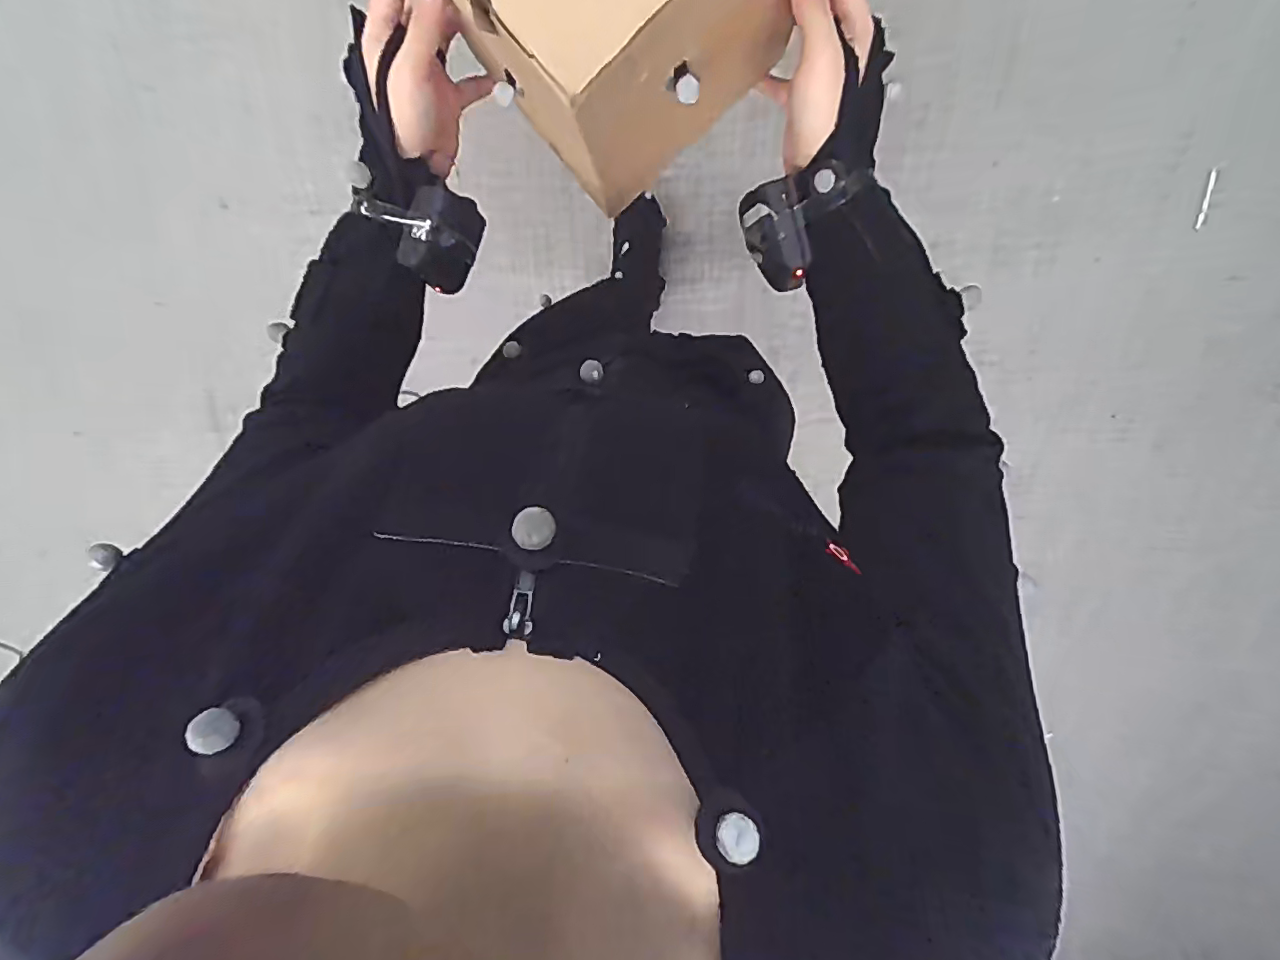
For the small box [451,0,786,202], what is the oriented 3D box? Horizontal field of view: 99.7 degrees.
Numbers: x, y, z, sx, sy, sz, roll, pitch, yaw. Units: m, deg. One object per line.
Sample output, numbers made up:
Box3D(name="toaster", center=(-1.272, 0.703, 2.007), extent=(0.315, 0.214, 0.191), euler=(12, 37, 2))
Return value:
Box3D(name="small box", center=(-0.017, -0.317, 0.337), extent=(0.179, 0.176, 0.168), euler=(-41, 92, 8))
